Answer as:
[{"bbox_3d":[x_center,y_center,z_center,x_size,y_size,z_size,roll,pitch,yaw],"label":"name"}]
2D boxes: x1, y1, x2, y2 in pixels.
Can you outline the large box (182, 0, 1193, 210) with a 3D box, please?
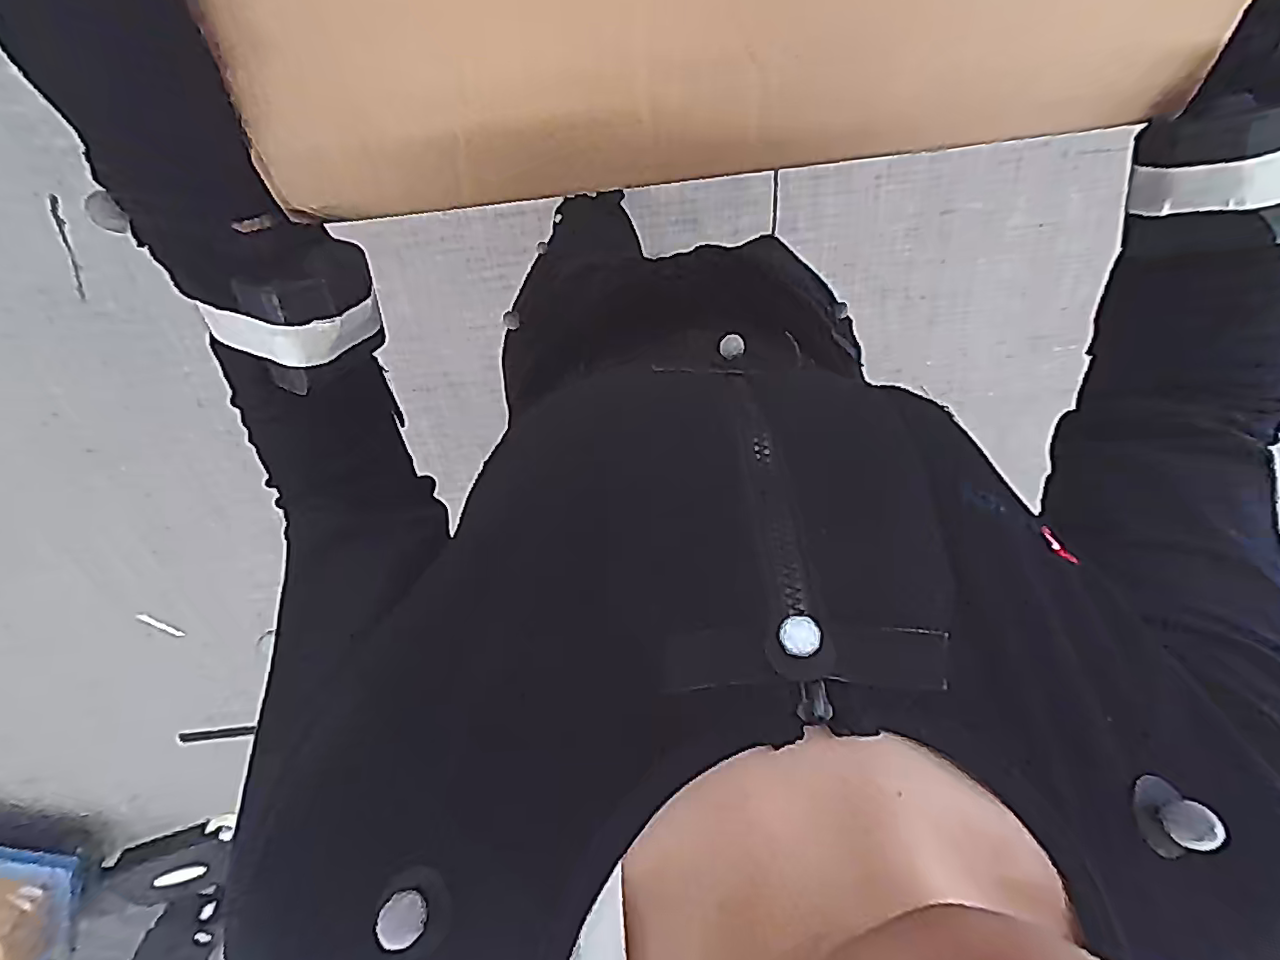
[{"bbox_3d":[0.012,-0.362,0.226,0.408,0.320,0.320,-7,141,-1],"label":"large box"}]
